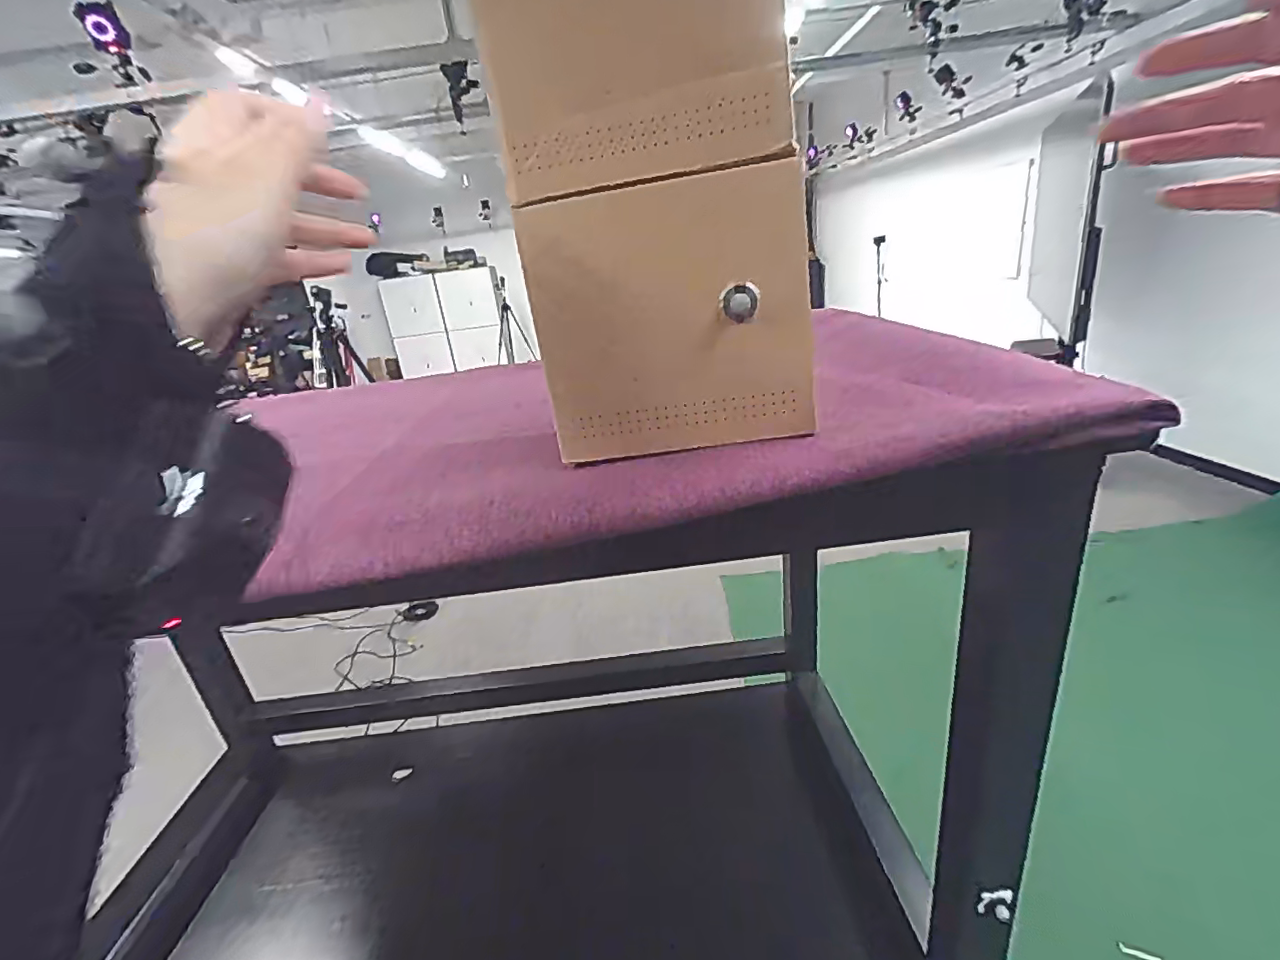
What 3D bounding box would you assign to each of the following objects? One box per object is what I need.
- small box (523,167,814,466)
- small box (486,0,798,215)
[{"bbox_3d":[0.030,-0.120,0.419,0.179,0.176,0.168,-7,18,6],"label":"small box"},{"bbox_3d":[0.006,-0.274,0.374,0.179,0.176,0.168,-5,19,9],"label":"small box"}]
